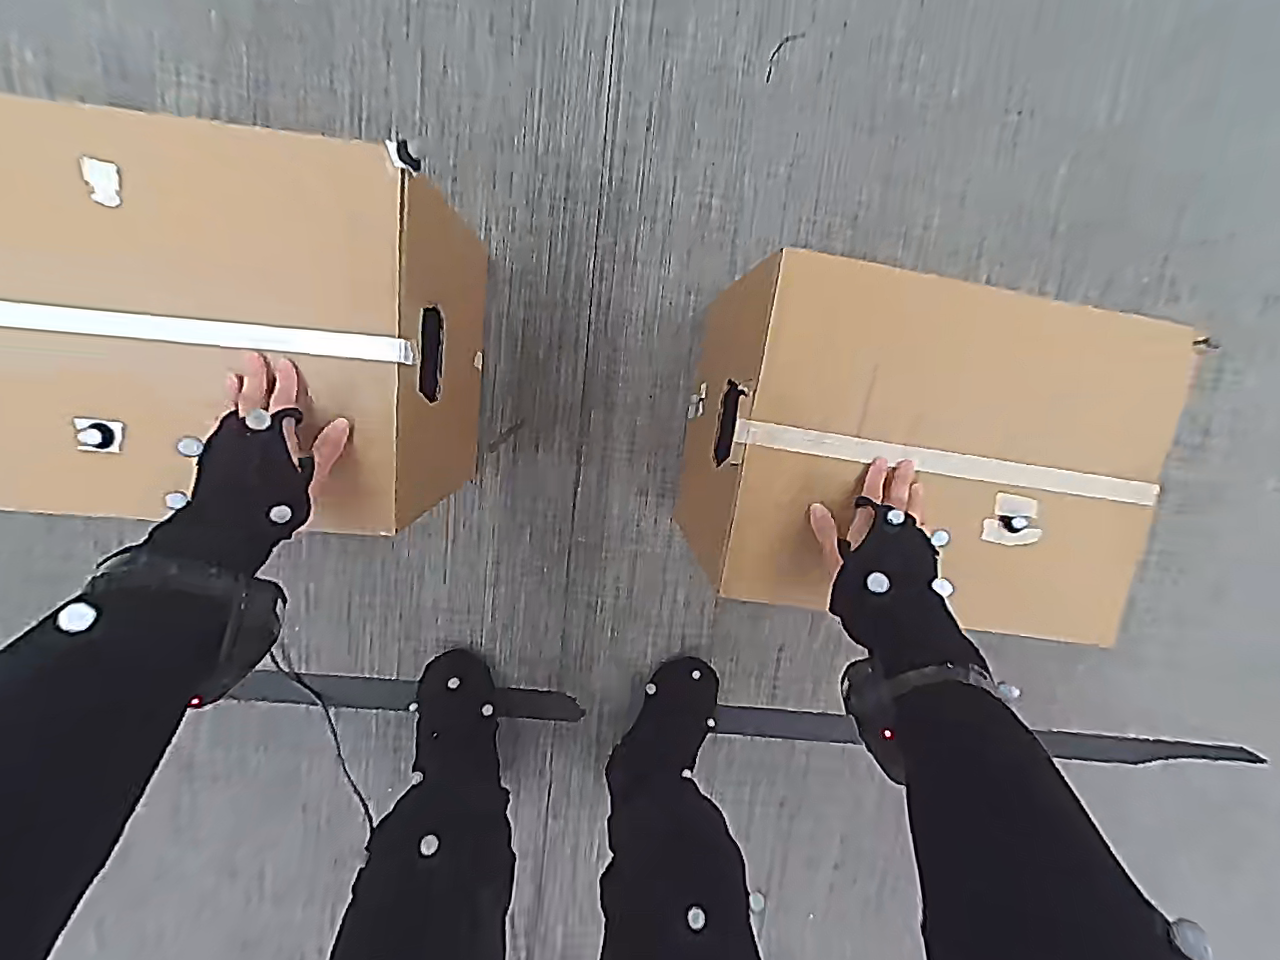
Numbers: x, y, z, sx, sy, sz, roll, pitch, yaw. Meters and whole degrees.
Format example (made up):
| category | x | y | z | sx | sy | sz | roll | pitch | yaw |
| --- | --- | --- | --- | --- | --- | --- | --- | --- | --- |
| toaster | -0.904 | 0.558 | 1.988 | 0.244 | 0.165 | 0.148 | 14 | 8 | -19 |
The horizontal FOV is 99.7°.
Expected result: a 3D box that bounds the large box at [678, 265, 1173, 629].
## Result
| category | x | y | z | sx | sy | sz | roll | pitch | yaw |
| --- | --- | --- | --- | --- | --- | --- | --- | --- | --- |
| large box | 0.282 | -0.040 | 0.664 | 0.408 | 0.320 | 0.320 | 8 | 99 | -7 |
